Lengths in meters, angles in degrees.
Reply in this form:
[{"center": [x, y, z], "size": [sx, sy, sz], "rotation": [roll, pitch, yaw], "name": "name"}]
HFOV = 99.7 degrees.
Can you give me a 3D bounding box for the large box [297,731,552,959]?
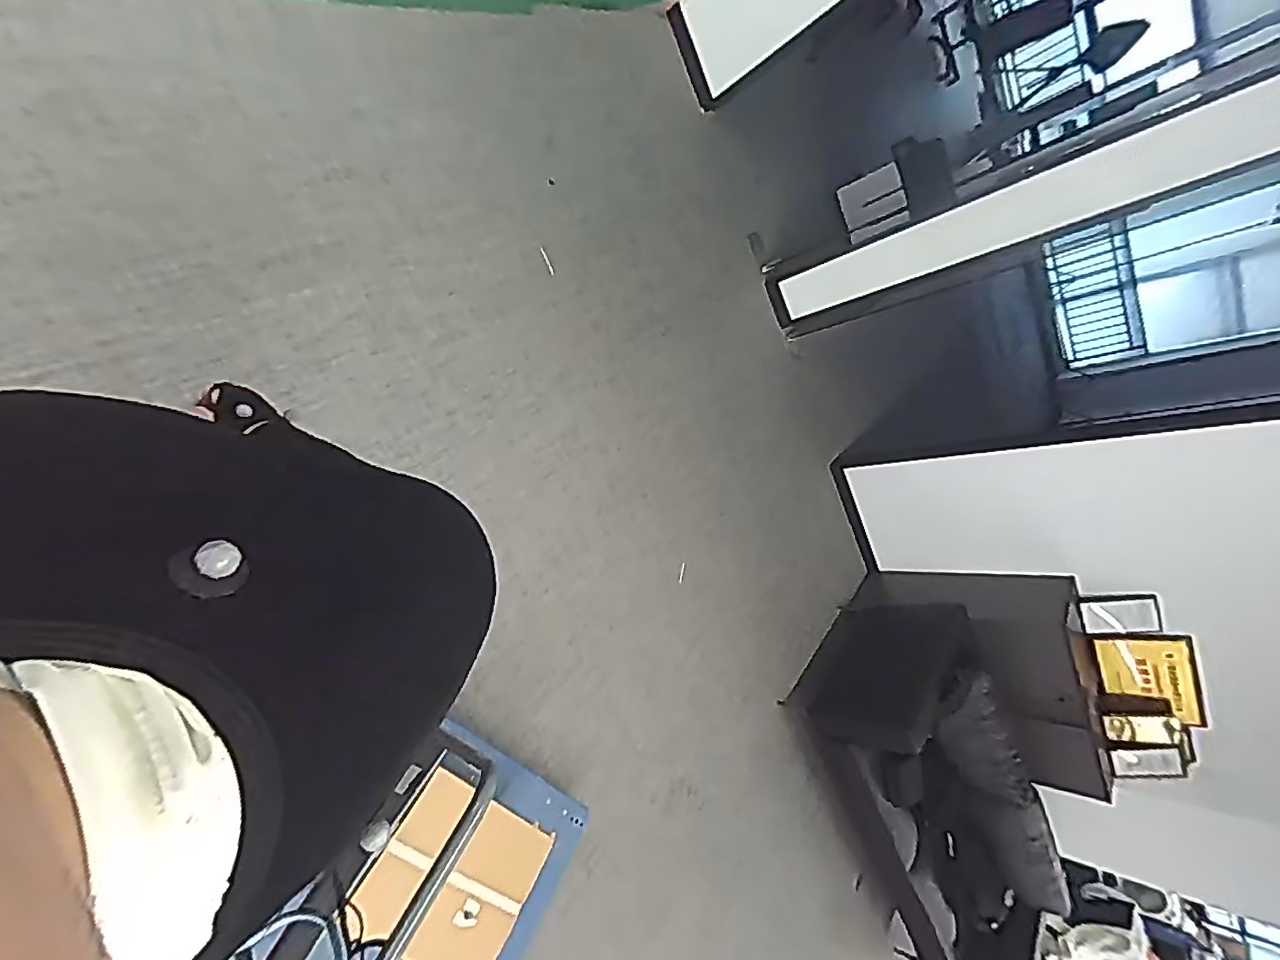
[{"center": [-0.501, 0.862, 1.284], "size": [0.408, 0.320, 0.320], "rotation": [52, 54, -27], "name": "large box"}]
